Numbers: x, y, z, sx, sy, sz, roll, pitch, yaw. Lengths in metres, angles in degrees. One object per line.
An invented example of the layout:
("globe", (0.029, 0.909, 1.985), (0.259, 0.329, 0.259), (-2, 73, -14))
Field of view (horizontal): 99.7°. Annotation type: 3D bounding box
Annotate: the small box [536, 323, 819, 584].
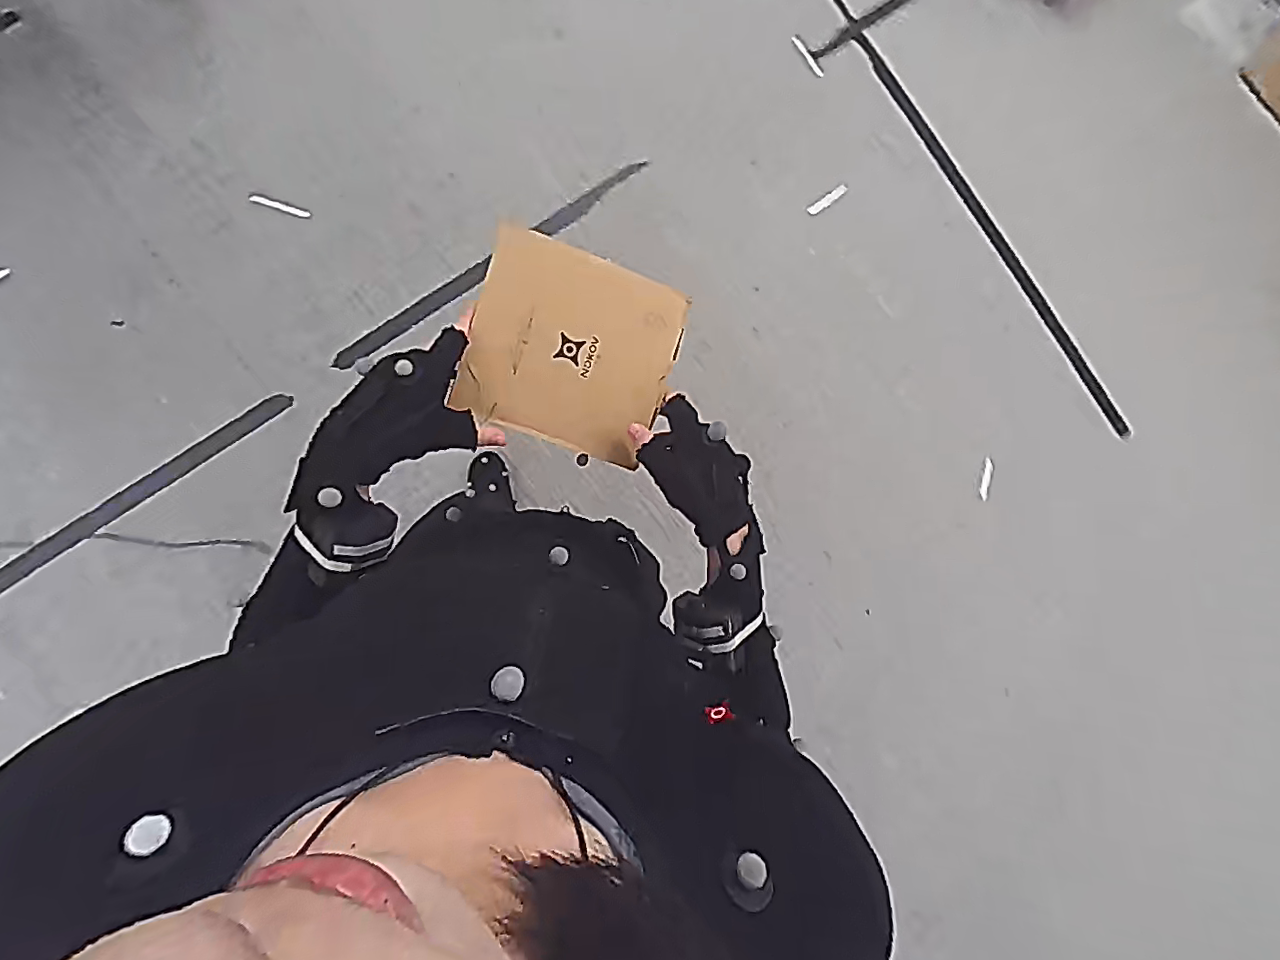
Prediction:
("small box", (0.038, -0.029, 0.519), (0.176, 0.168, 0.179), (-24, 83, -43))
